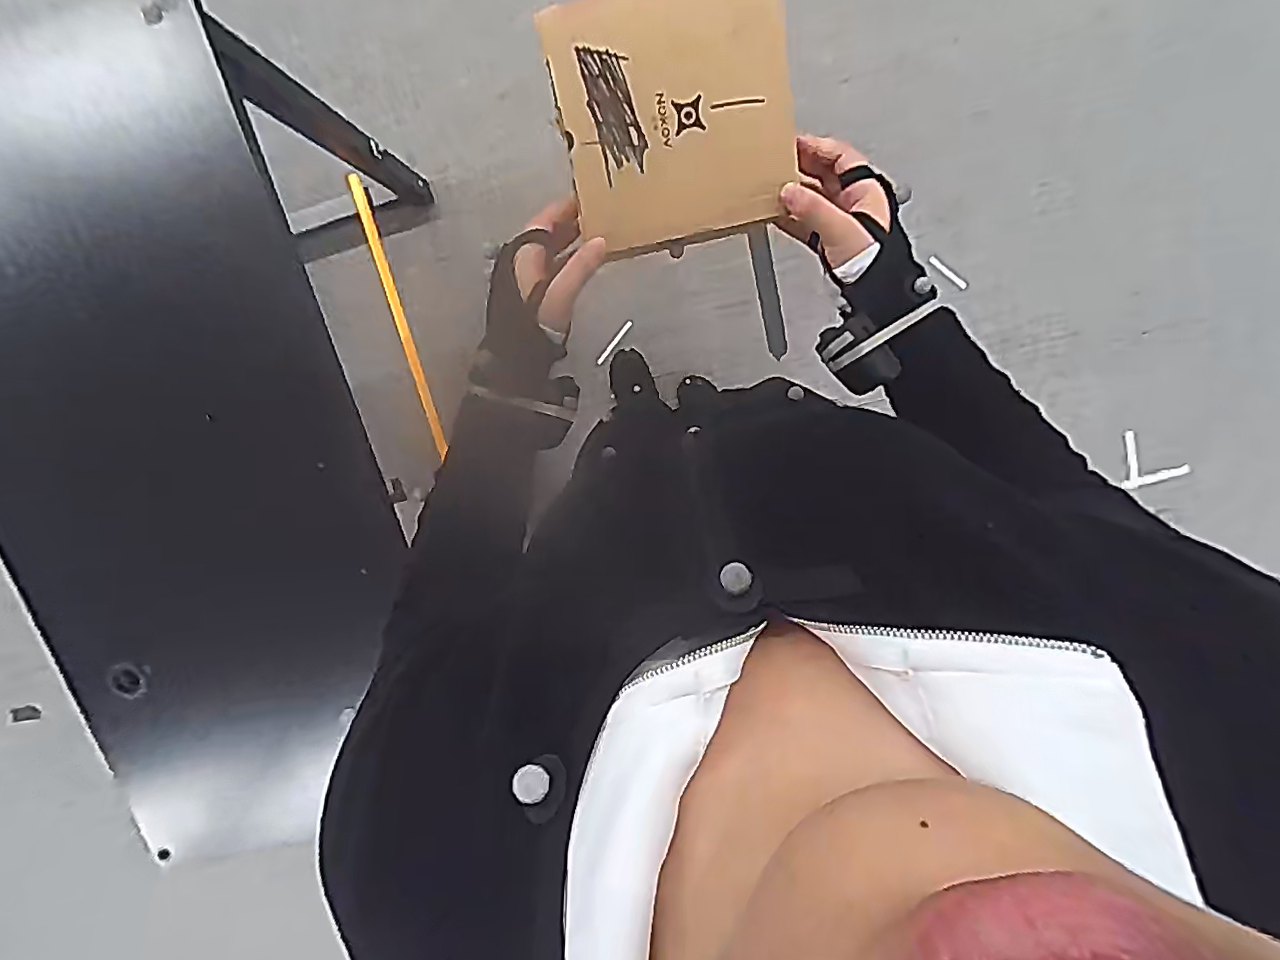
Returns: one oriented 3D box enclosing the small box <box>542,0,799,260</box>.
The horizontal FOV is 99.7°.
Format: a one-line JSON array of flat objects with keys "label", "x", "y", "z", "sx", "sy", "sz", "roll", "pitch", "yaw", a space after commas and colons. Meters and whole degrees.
[{"label": "small box", "x": 0.026, "y": -0.302, "z": 0.485, "sx": 0.179, "sy": 0.176, "sz": 0.168, "roll": -12, "pitch": 110, "yaw": 1}]
